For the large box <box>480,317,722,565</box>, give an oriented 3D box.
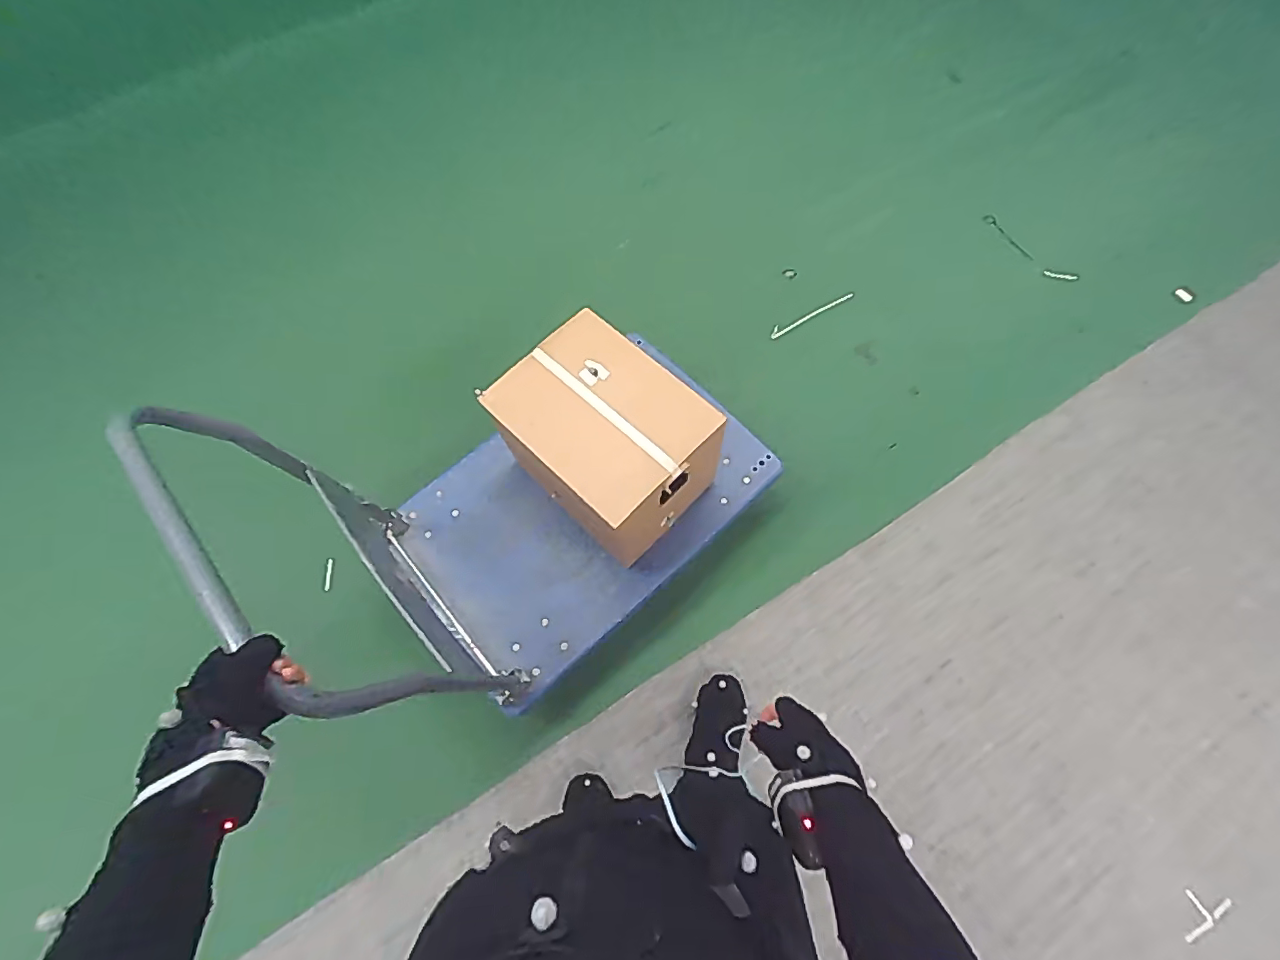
[{"bbox_3d":[-0.072,-0.076,1.218,0.408,0.320,0.320,41,74,18],"label":"large box"}]
